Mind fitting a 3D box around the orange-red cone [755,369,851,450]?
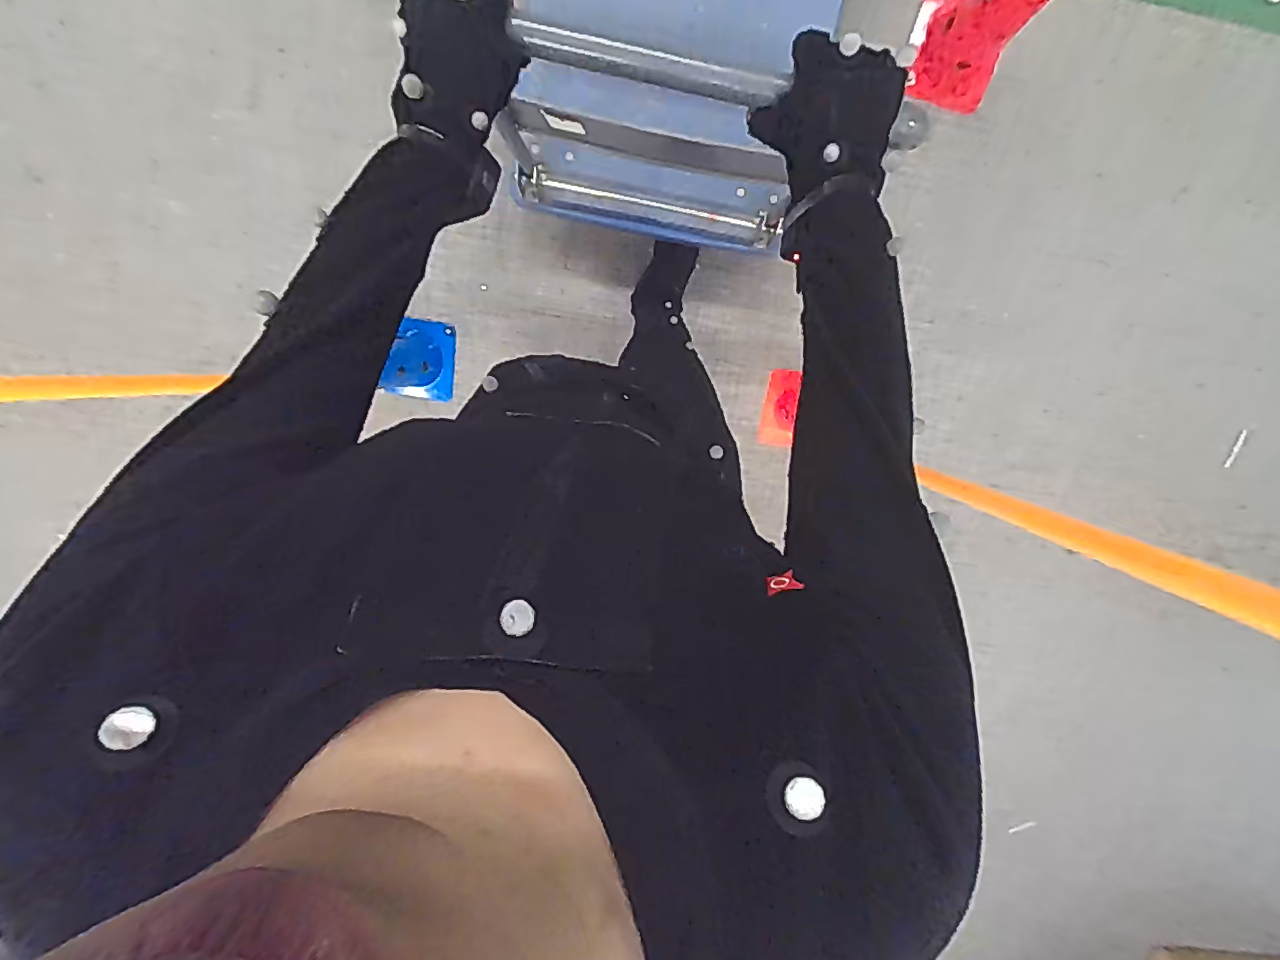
[{"bbox_3d":[0.415,-0.132,1.273,0.199,0.360,0.198,9,108,-1],"label":"orange-red cone"}]
